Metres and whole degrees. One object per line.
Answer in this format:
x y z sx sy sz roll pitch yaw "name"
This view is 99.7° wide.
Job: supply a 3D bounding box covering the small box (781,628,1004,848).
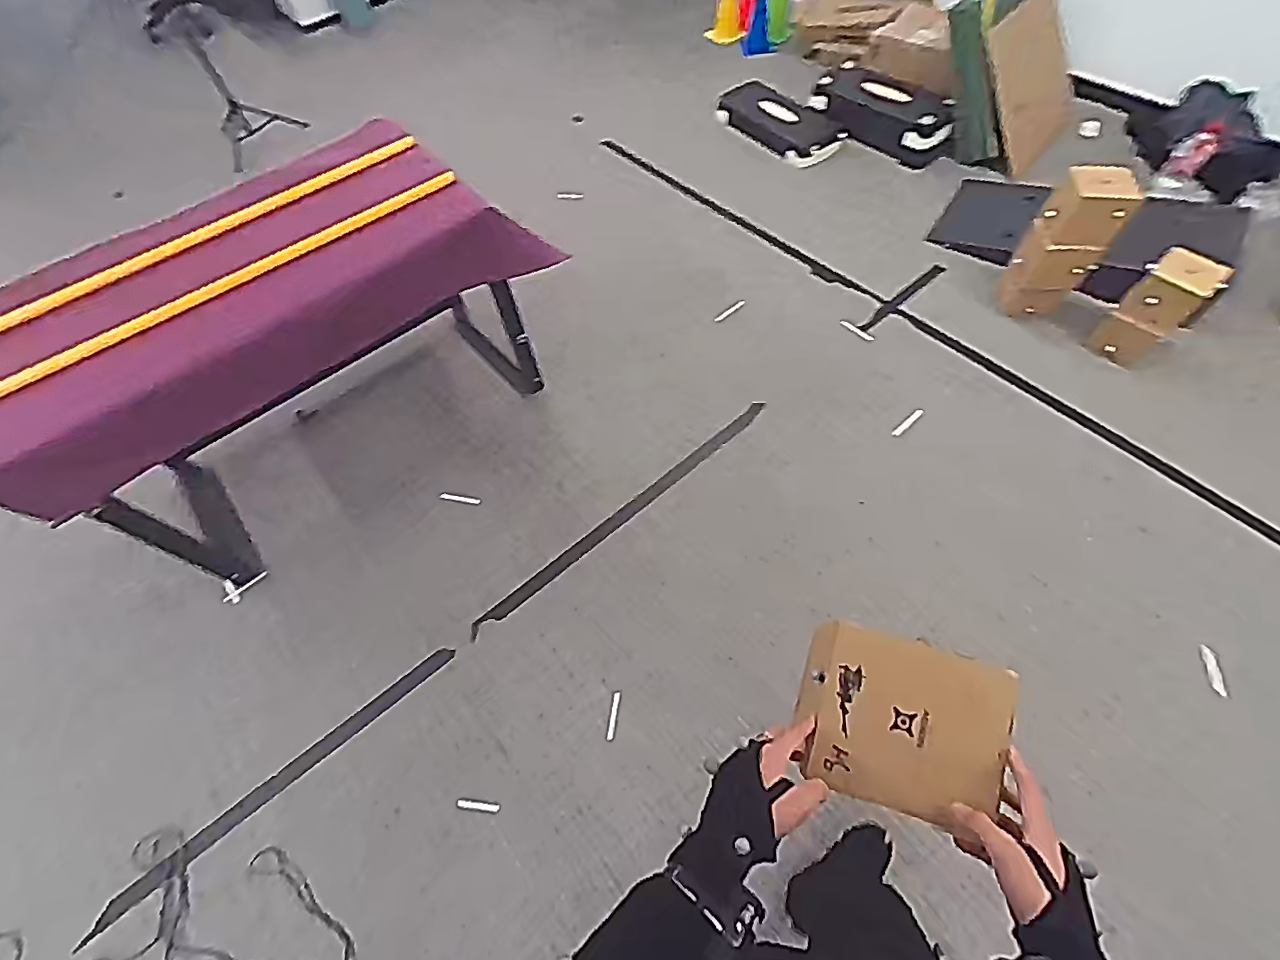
0.273 0.274 0.622 0.179 0.176 0.168 15 78 13 "small box"
